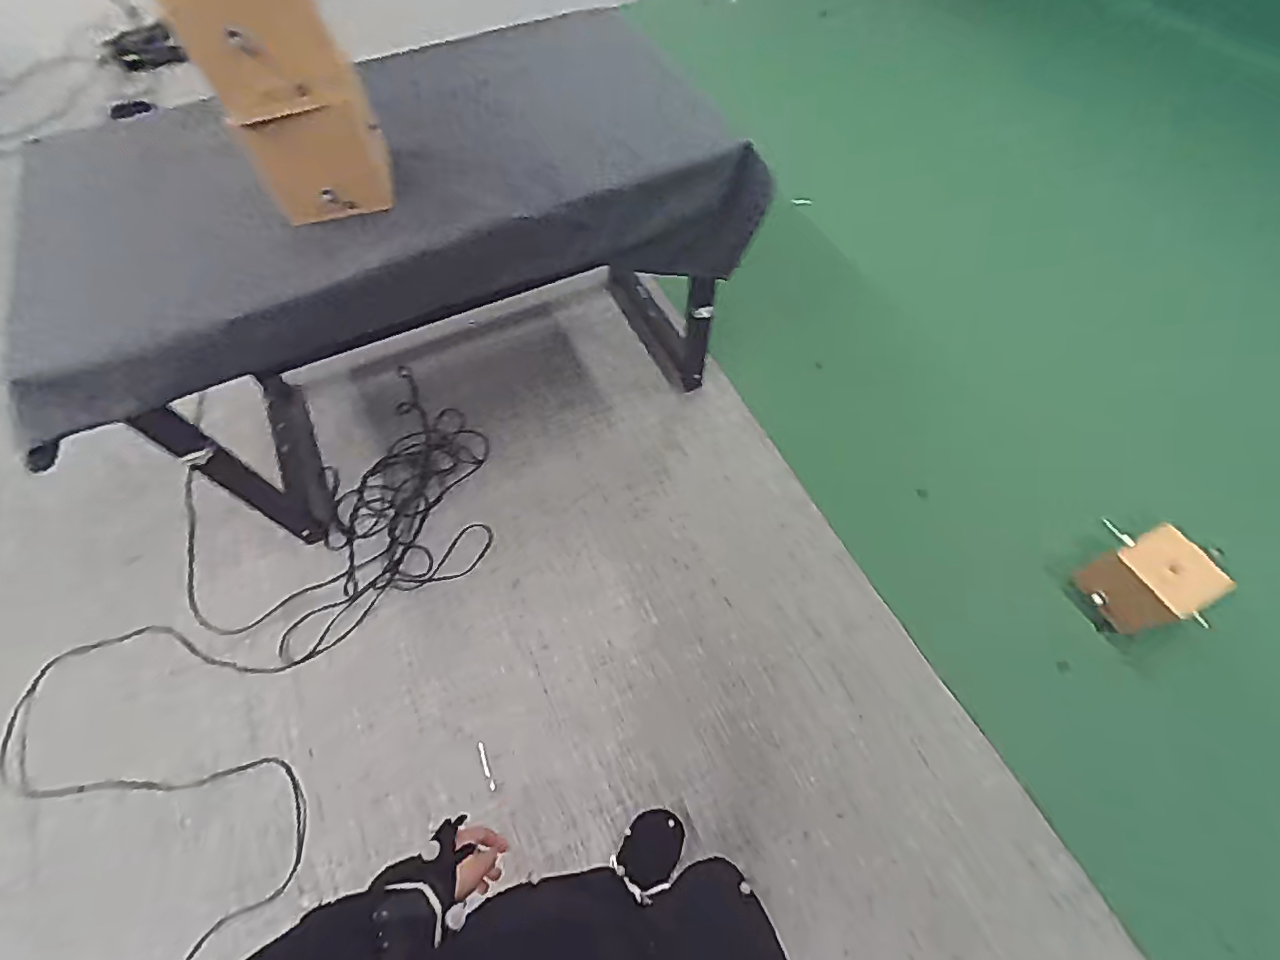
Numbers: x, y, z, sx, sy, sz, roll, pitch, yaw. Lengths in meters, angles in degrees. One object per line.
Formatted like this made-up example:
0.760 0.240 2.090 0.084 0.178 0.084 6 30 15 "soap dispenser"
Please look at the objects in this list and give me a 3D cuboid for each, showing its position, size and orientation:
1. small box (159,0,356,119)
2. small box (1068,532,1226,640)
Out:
-0.506 -0.616 0.723 0.168 0.176 0.179 -21 63 -11 "small box"
1.173 0.253 1.269 0.179 0.176 0.168 -24 63 -12 "small box"
